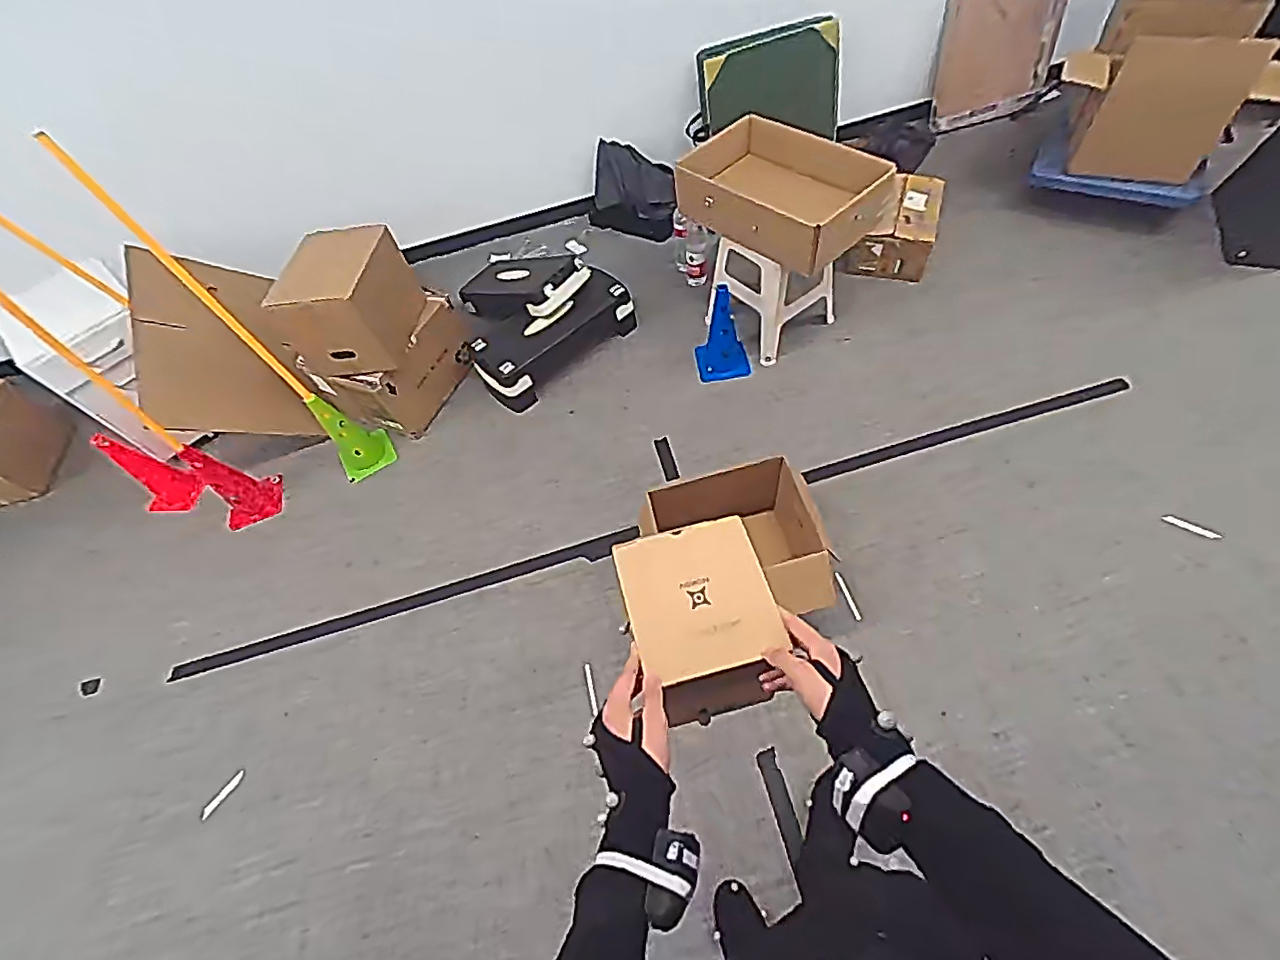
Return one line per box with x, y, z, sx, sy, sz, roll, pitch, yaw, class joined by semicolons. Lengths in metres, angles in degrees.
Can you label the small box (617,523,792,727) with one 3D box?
0.071;0.185;0.691;0.168;0.176;0.179;-13;50;-7;small box
